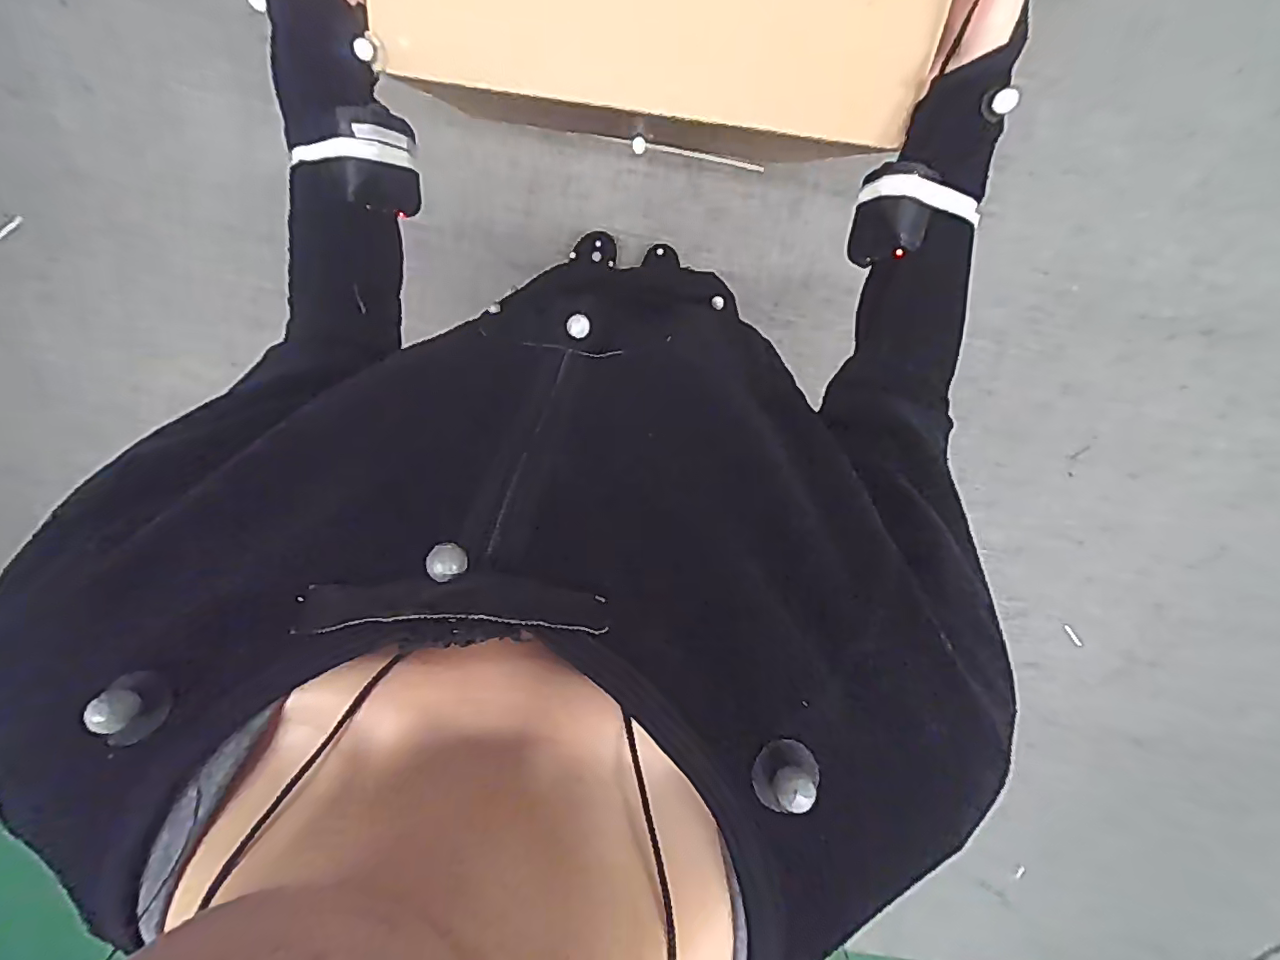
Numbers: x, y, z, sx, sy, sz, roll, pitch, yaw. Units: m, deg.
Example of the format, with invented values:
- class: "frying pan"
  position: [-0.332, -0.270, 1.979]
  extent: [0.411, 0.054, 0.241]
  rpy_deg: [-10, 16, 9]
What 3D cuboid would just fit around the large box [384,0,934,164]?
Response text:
- class: "large box"
  position: [0.020, -0.482, 0.484]
  extent: [0.408, 0.320, 0.320]
  rpy_deg: [4, 117, -6]
